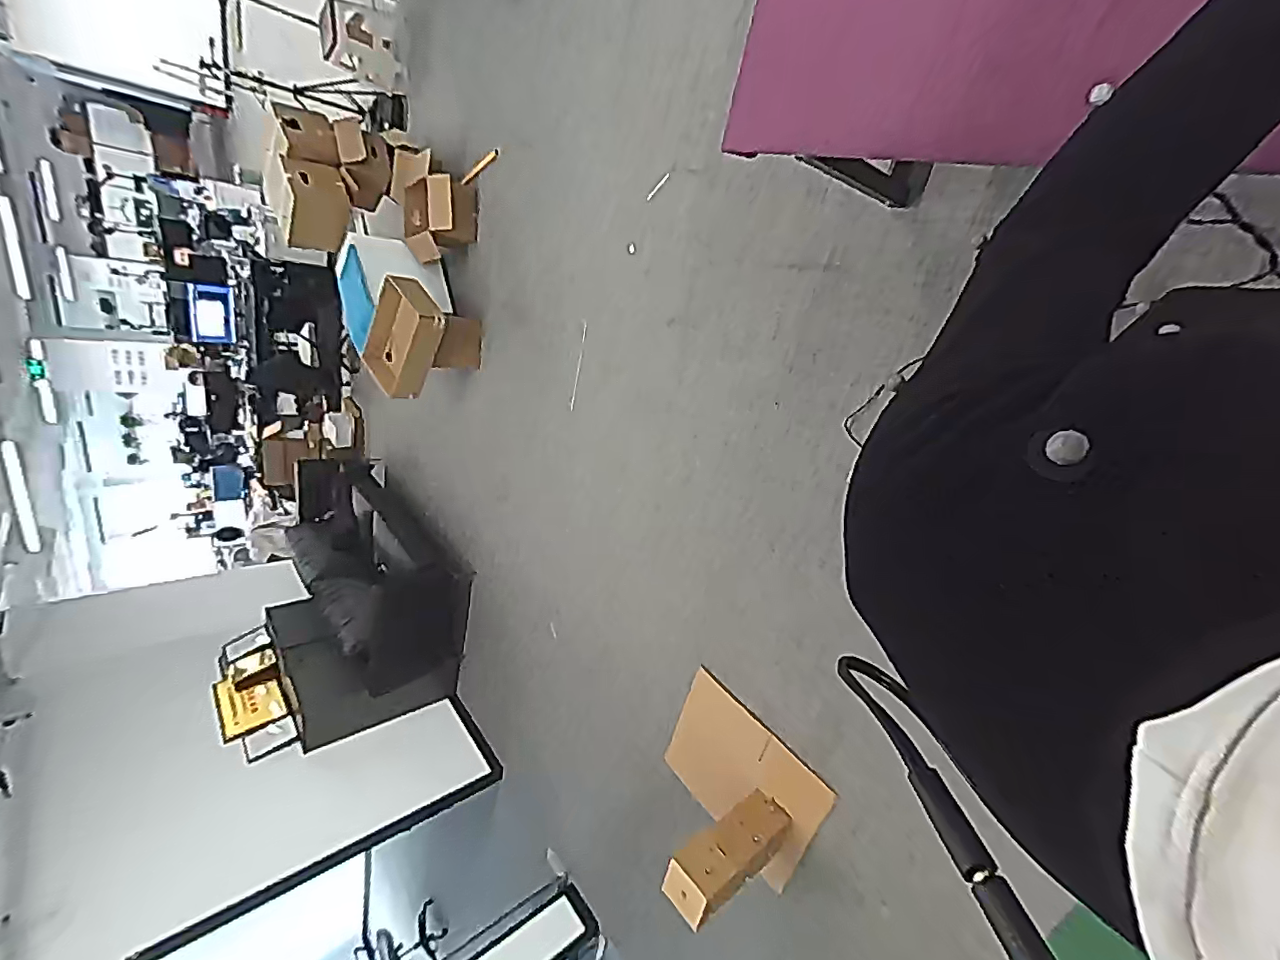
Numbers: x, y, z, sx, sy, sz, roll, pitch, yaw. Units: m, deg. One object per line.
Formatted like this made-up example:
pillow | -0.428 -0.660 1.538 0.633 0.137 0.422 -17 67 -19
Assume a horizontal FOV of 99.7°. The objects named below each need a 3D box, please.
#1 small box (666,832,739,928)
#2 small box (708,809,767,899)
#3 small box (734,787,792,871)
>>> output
small box | 0.218 1.373 1.869 0.168 0.176 0.179 31 119 40
small box | 0.341 1.355 1.973 0.168 0.176 0.179 31 119 41
small box | 0.462 1.337 2.081 0.168 0.176 0.179 27 115 42
